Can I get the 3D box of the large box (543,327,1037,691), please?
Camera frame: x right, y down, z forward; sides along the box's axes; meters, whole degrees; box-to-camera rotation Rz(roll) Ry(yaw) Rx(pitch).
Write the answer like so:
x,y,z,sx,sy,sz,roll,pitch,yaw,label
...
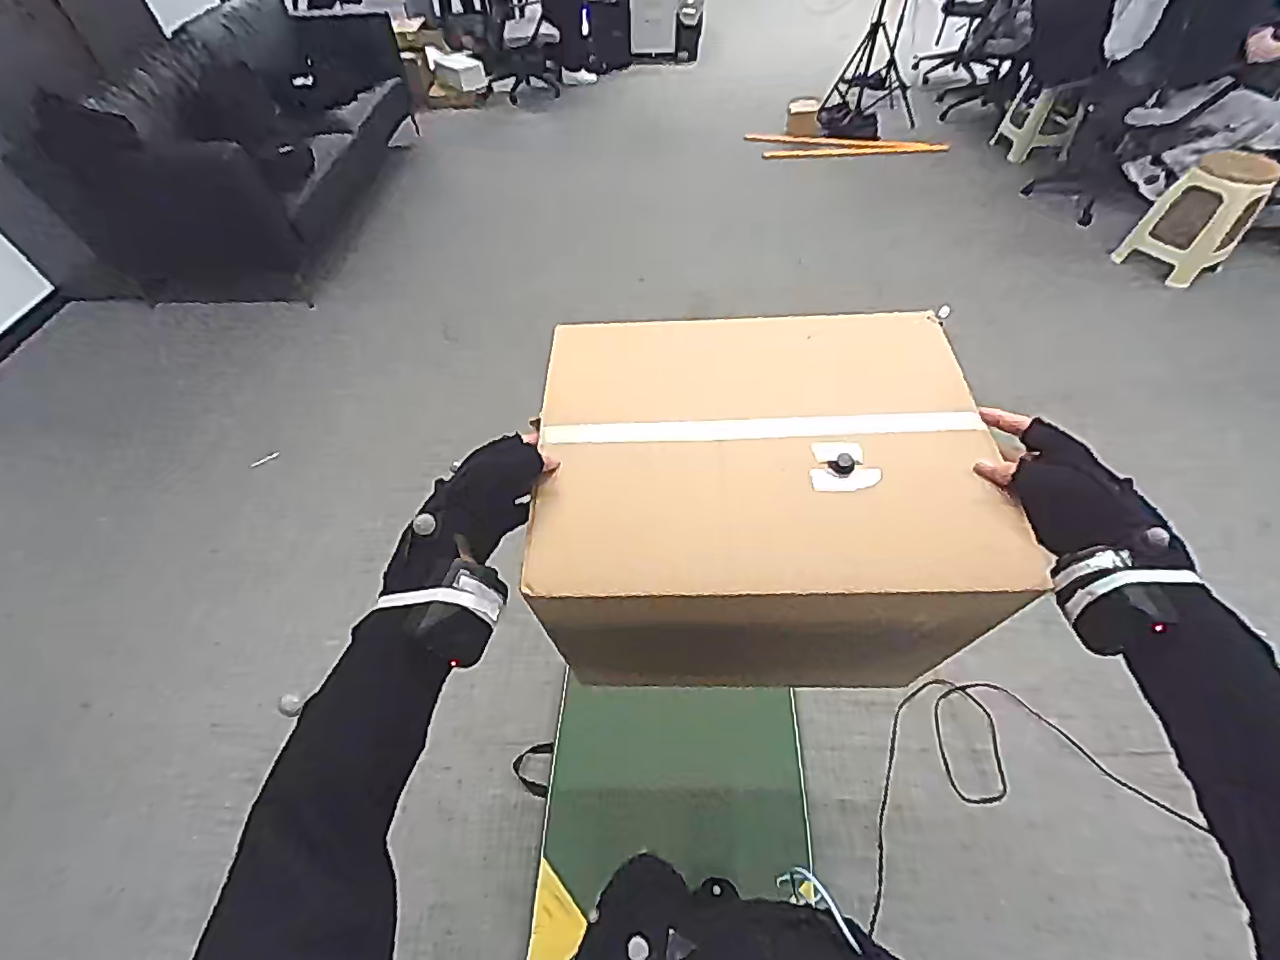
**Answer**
x,y,z,sx,sy,sz,roll,pitch,yaw,label
0.122,0.049,0.637,0.408,0.320,0.320,-1,57,2,large box
